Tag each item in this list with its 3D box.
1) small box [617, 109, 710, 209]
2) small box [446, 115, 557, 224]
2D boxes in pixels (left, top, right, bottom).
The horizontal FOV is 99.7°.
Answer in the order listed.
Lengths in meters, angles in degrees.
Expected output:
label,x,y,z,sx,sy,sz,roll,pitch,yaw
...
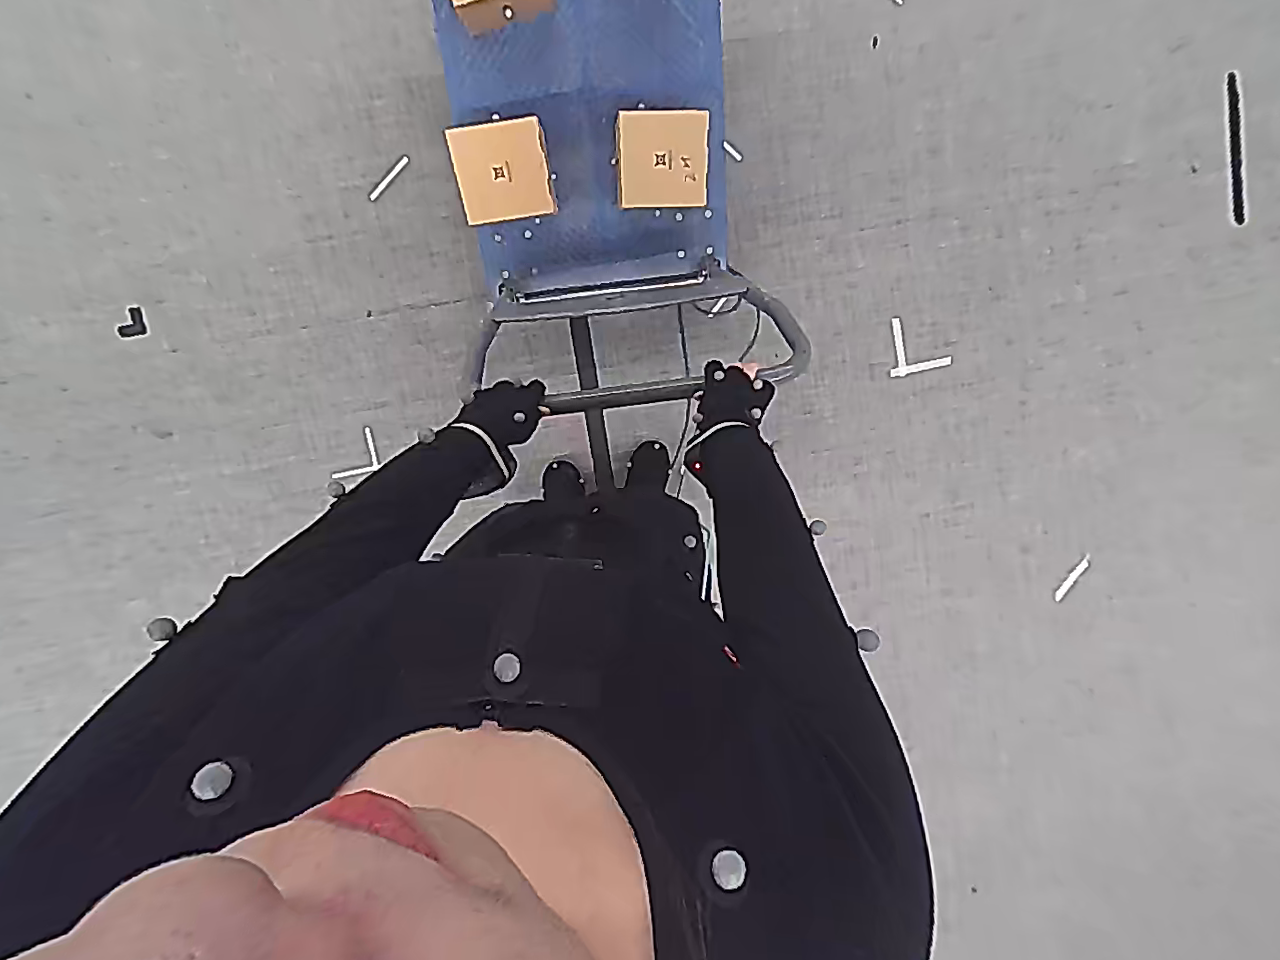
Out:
label,x,y,z,sx,sy,sz,roll,pitch,yaw
small box,0.041,-0.662,1.128,0.179,0.176,0.168,-3,116,-5
small box,-0.274,-0.628,1.112,0.179,0.176,0.168,-11,116,-2
